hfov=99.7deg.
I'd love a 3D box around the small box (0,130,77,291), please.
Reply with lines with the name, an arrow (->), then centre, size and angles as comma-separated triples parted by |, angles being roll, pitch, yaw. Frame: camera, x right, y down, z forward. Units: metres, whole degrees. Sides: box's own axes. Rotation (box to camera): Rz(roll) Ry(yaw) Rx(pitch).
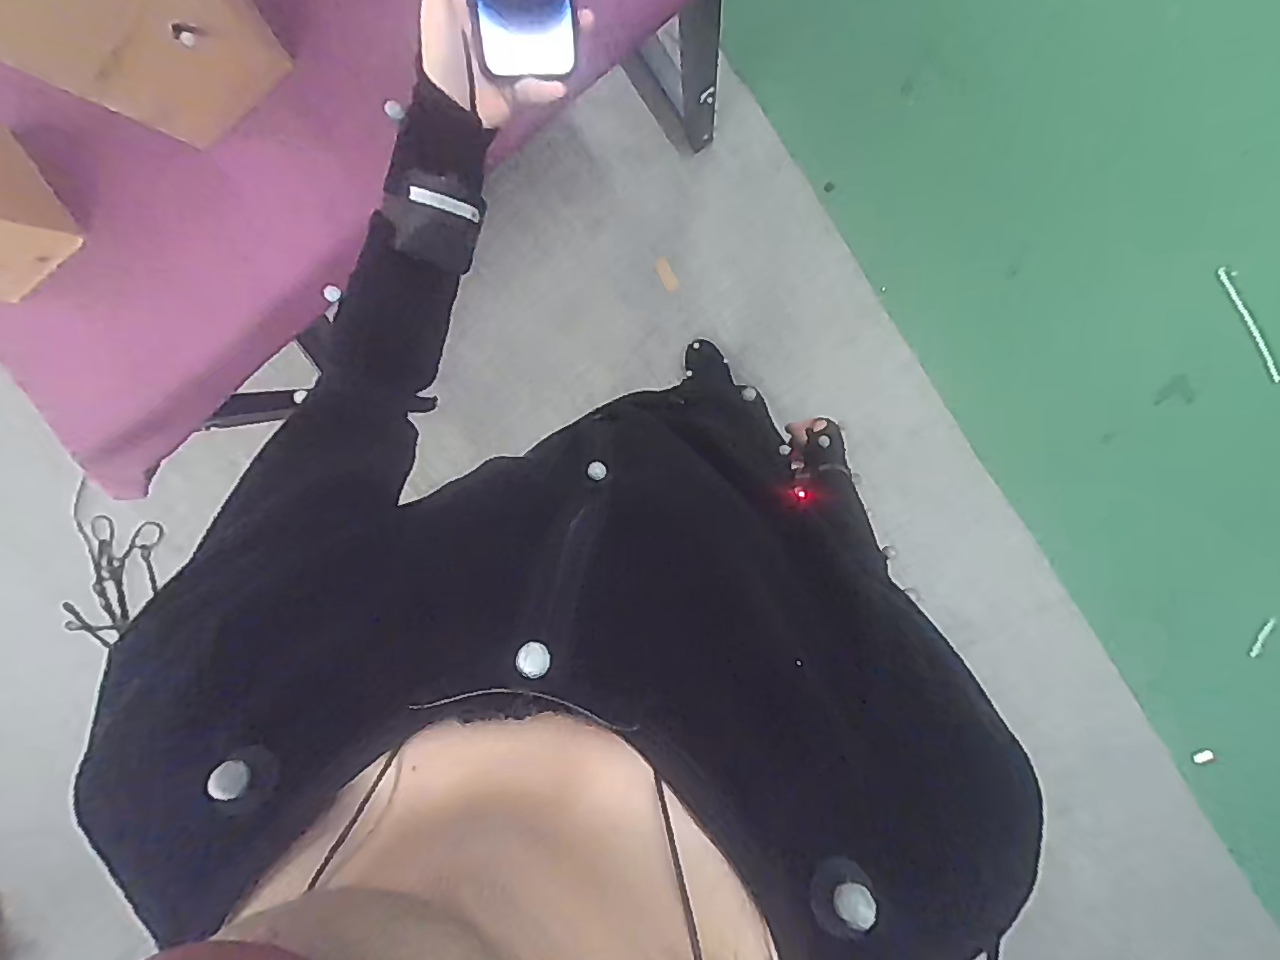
small box -> -0.901, -0.359, 0.688 | 0.168, 0.176, 0.179 | -31, 97, 12

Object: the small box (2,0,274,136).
small box -> -0.564, -0.542, 0.612 | 0.179, 0.176, 0.168 | -32, 97, 12
